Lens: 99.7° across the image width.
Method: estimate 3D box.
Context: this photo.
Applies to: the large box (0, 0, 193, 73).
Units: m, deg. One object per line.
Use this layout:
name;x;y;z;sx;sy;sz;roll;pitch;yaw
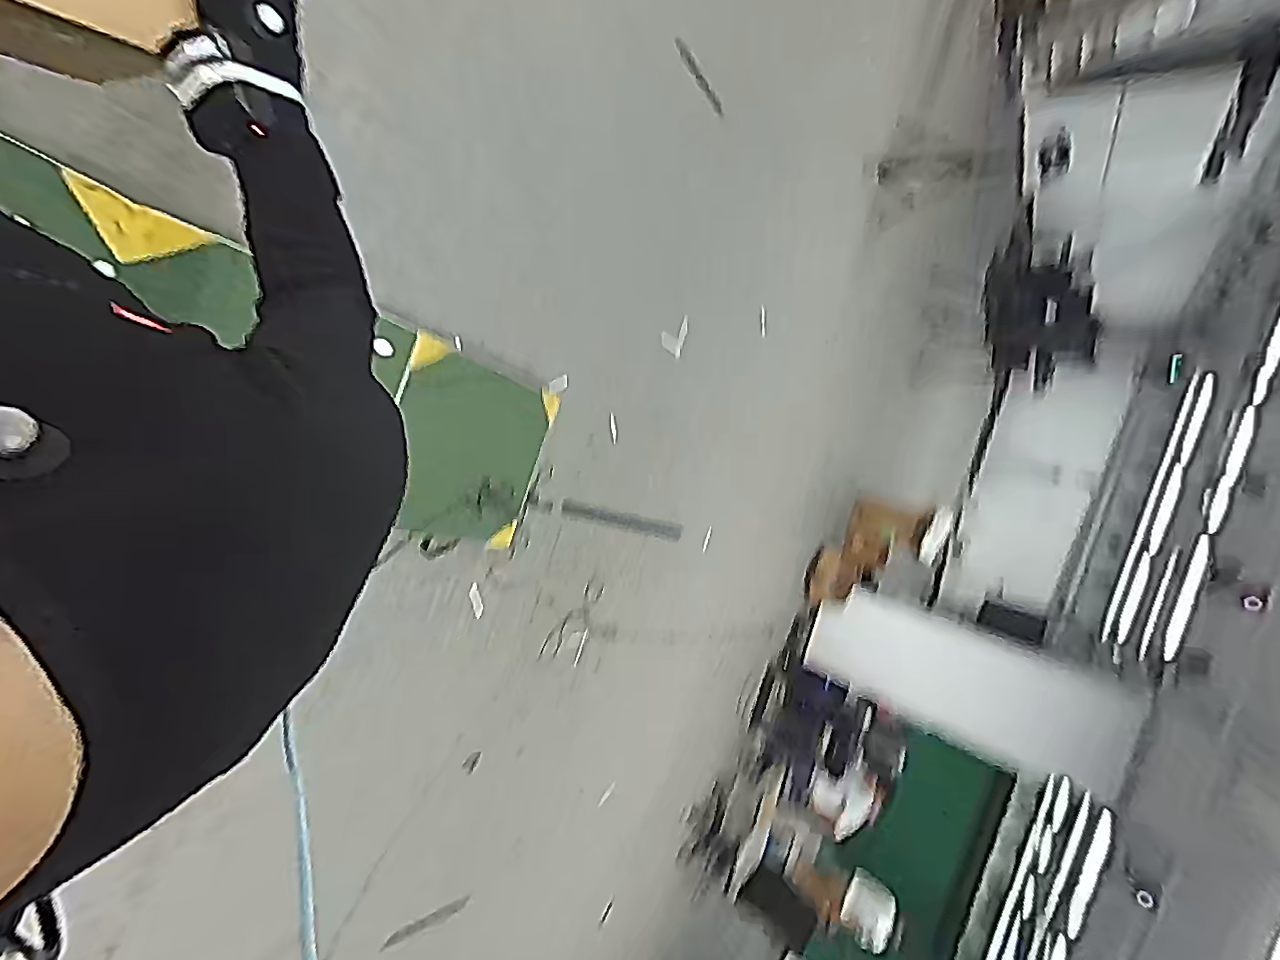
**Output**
large box;-0.546;-0.489;0.288;0.408;0.320;0.320;-12;120;-53
